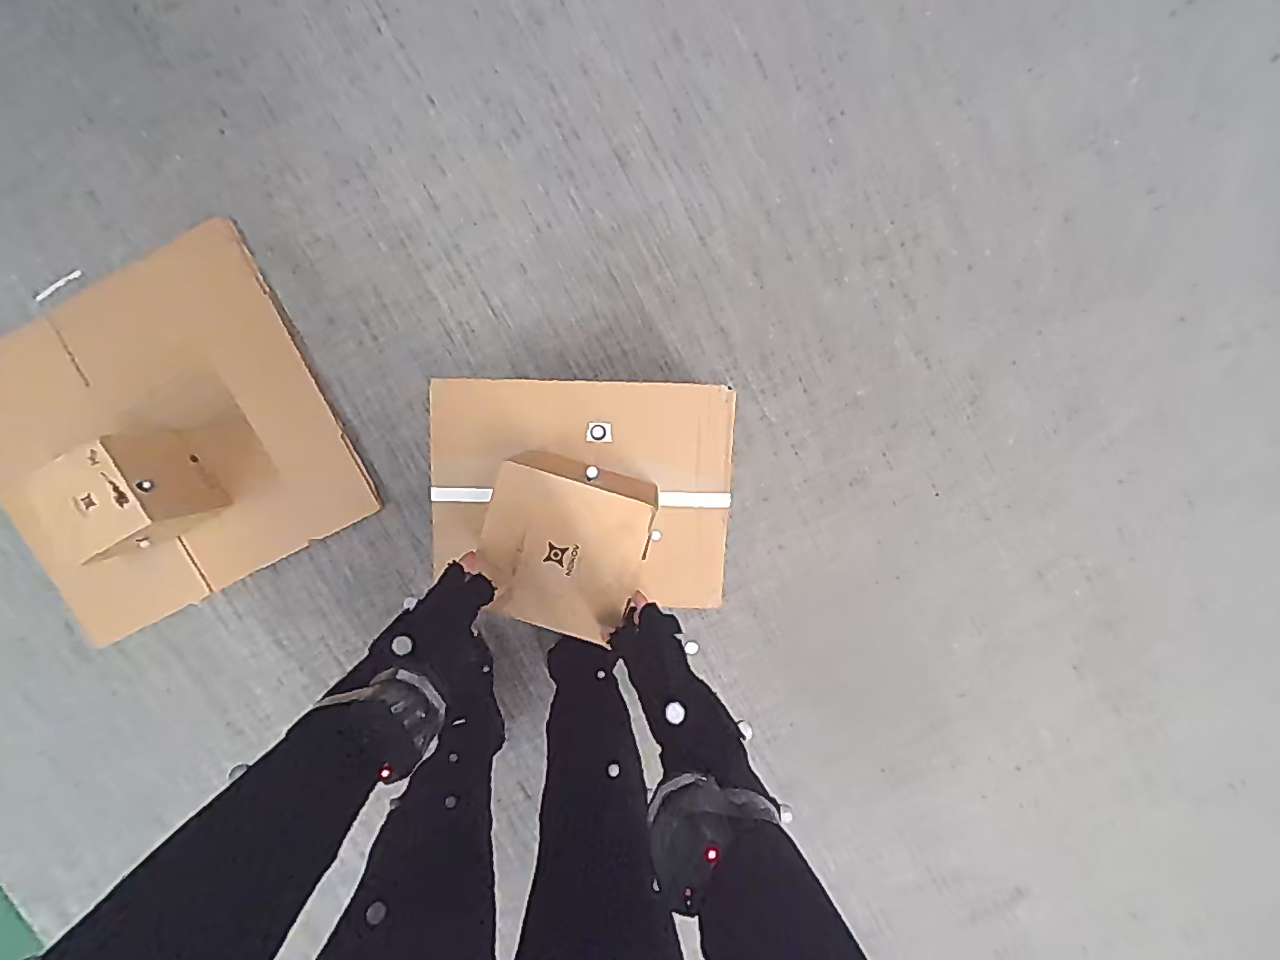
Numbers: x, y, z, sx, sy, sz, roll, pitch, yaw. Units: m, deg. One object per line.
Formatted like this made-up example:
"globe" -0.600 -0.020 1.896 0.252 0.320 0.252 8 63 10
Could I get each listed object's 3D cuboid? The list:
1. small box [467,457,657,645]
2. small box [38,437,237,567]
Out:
"small box" -0.083 0.073 0.666 0.179 0.176 0.168 17 97 1
"small box" -0.902 0.033 0.989 0.179 0.176 0.168 -30 93 7
